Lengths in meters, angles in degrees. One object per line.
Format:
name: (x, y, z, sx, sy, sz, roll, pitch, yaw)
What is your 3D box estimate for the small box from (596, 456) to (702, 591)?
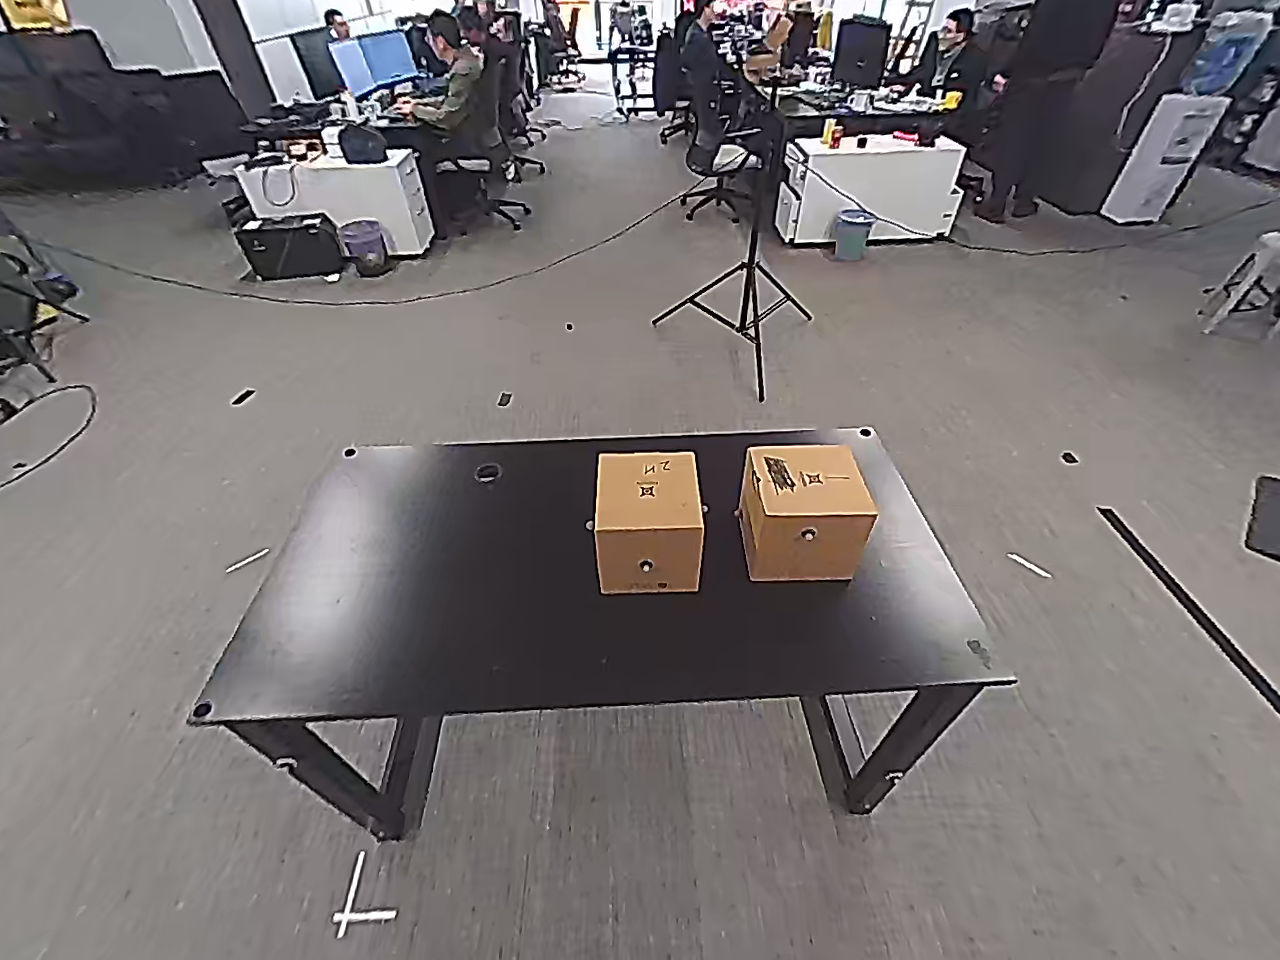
small box: (0.017, 0.079, 0.934, 0.168, 0.176, 0.179, -1, 43, 0)

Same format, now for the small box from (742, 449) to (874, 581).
small box: (0.277, 0.062, 0.943, 0.179, 0.176, 0.168, -1, 43, 0)
